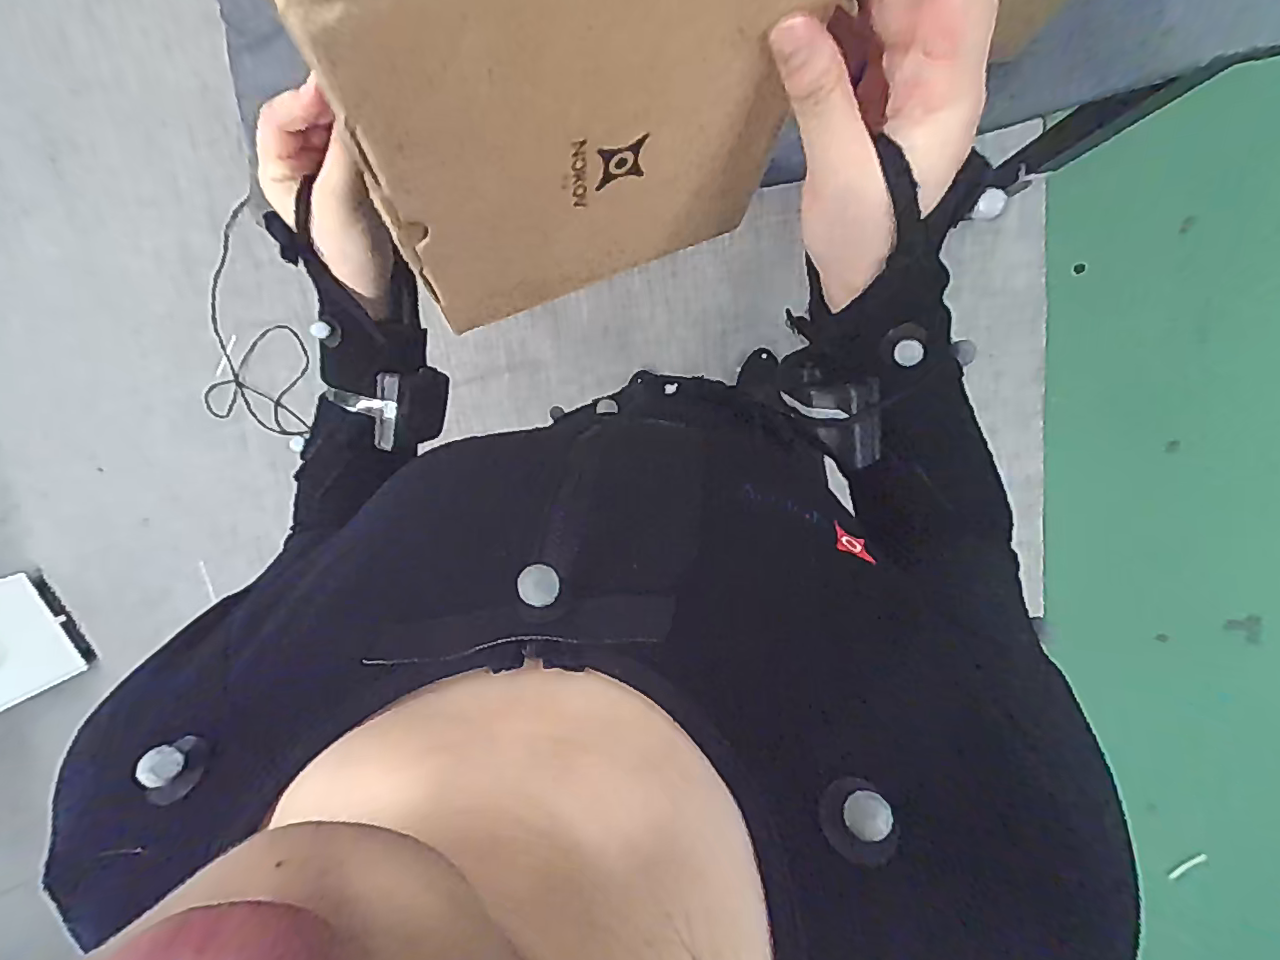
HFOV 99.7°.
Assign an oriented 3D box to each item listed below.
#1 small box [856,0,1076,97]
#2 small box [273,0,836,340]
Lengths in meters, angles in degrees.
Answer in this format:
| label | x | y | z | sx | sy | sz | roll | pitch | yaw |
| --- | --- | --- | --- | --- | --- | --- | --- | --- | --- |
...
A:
| label | x | y | z | sx | sy | sz | roll | pitch | yaw |
| --- | --- | --- | --- | --- | --- | --- | --- | --- | --- |
| small box | 0.306 | -0.511 | 0.510 | 0.168 | 0.176 | 0.179 | -4 | 100 | 11 |
| small box | -0.049 | -0.195 | 0.231 | 0.179 | 0.168 | 0.176 | -24 | 83 | -9 |
